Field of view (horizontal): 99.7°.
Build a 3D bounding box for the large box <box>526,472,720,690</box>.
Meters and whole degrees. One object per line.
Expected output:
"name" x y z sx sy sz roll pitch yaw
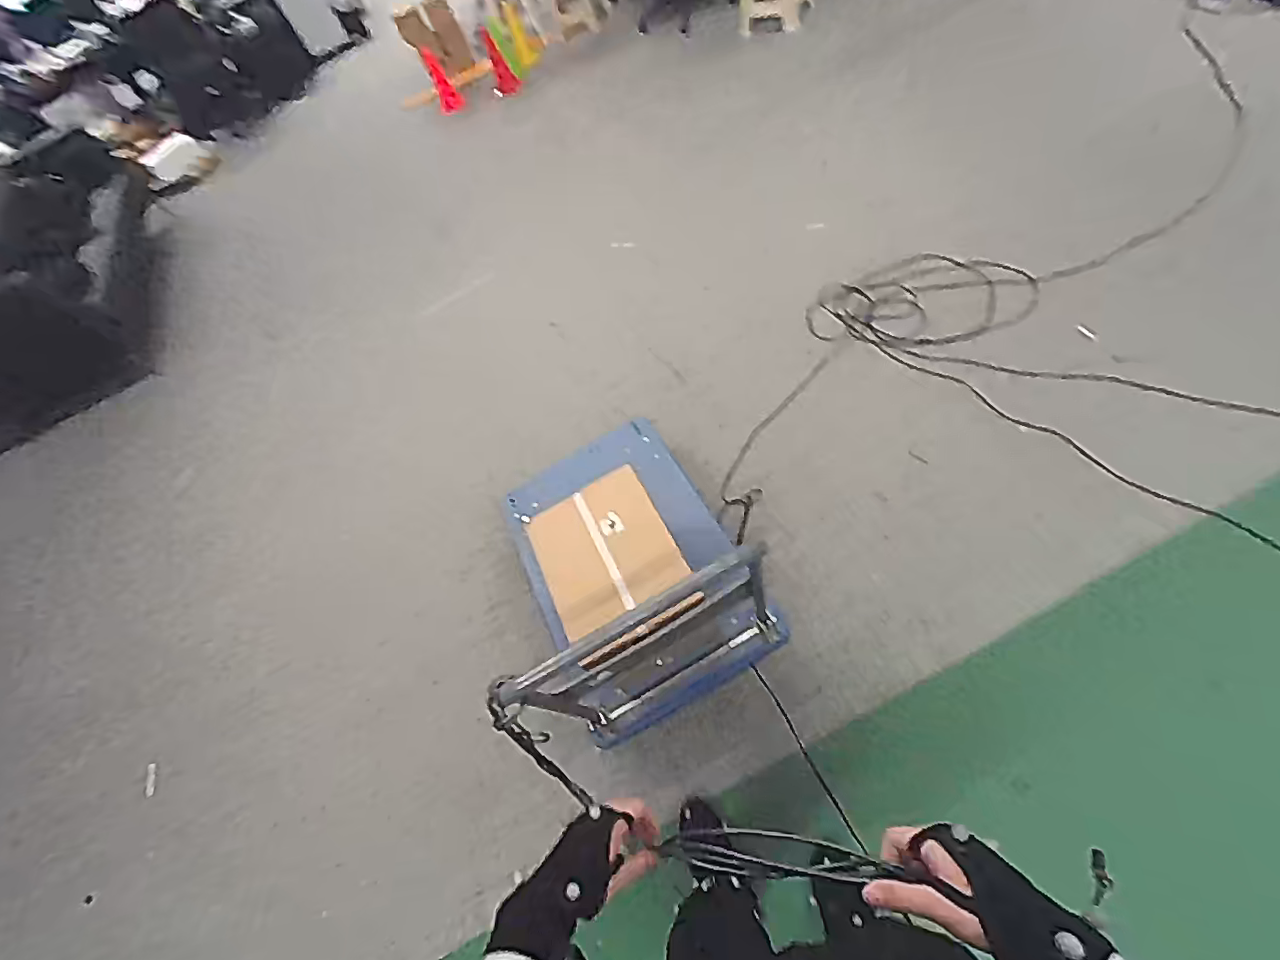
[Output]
"large box" -0.040 0.266 1.404 0.320 0.320 0.408 -29 55 -1
